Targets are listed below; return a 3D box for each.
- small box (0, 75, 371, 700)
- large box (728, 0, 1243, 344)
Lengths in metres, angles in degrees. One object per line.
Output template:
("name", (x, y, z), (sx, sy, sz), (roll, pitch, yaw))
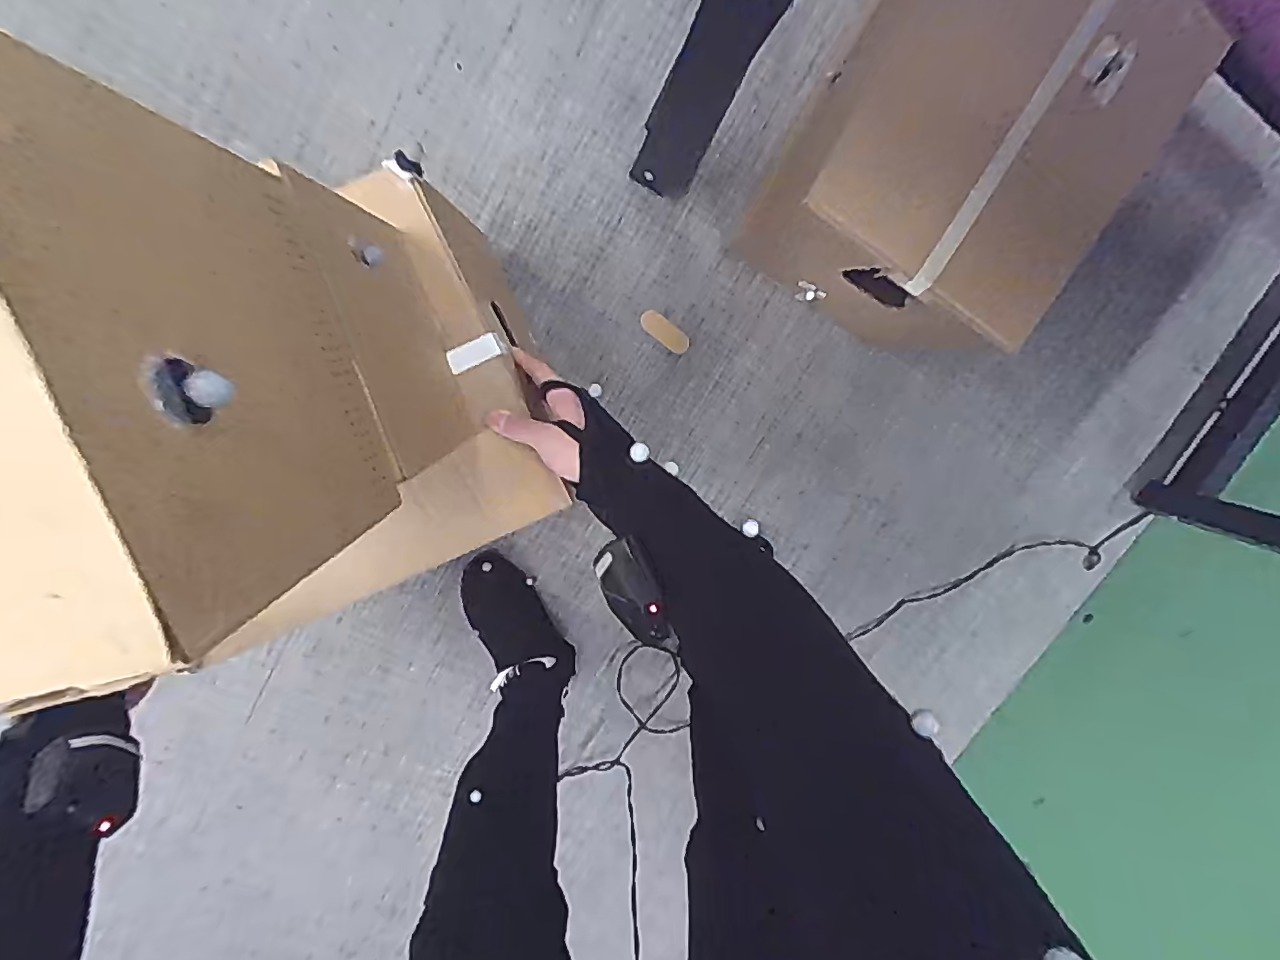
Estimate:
("small box", (-0.235, -0.031, 0.204), (0.168, 0.176, 0.179), (-14, 103, 0))
("large box", (0.369, -0.423, 0.685), (0.320, 0.320, 0.408), (27, 99, -14))
